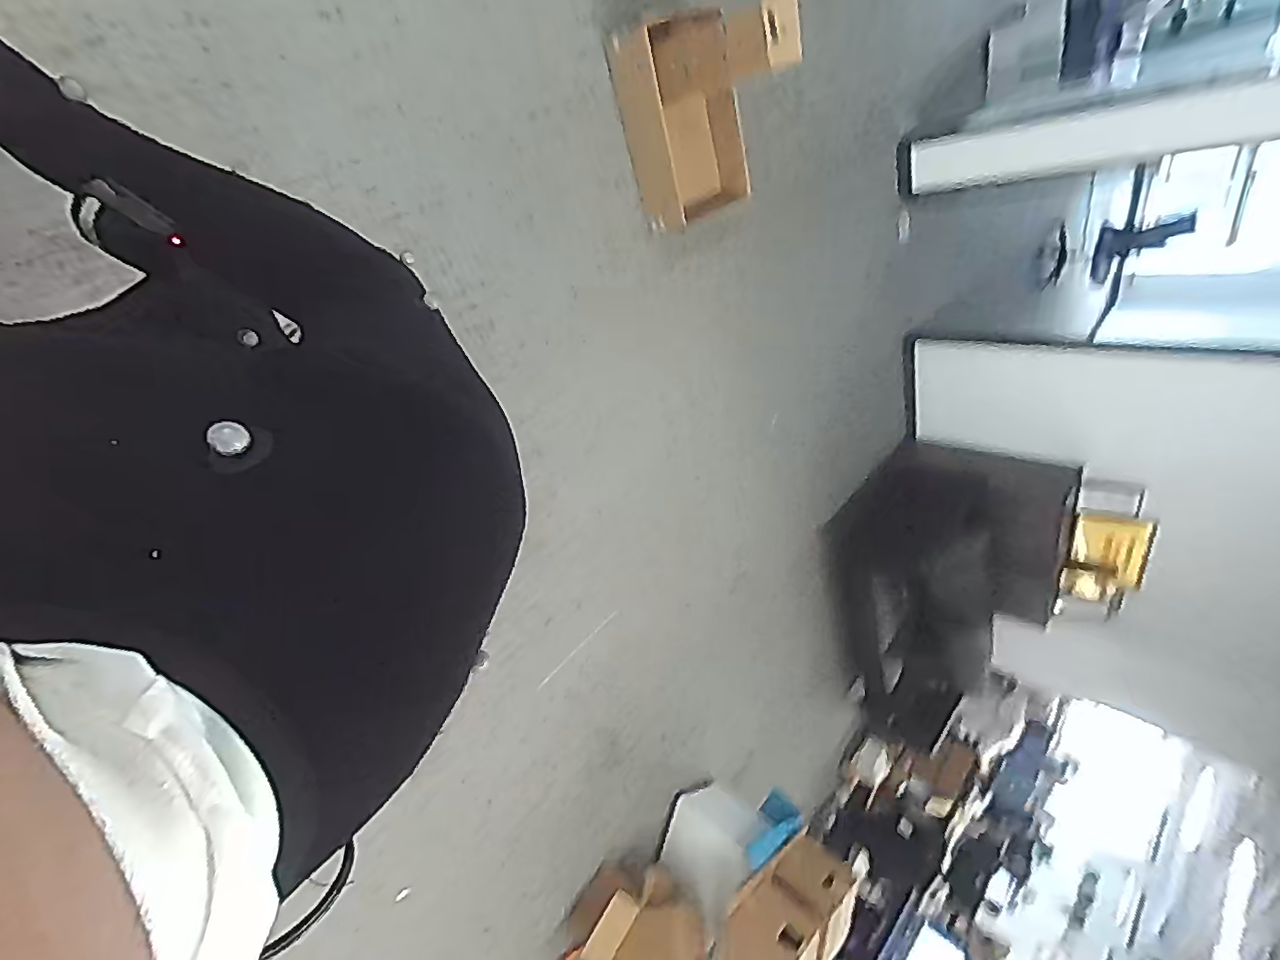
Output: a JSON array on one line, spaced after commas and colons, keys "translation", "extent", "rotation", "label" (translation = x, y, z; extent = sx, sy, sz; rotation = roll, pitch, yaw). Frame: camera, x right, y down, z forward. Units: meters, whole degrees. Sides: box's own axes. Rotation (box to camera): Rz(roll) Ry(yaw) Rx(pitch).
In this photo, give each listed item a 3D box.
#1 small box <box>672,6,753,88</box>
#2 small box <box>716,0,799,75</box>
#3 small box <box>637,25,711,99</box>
[{"translation": [0.228, -1.354, 1.688], "extent": [0.179, 0.176, 0.168], "rotation": [-37, 127, -29], "label": "small box"}, {"translation": [0.336, -1.311, 1.573], "extent": [0.179, 0.176, 0.168], "rotation": [-39, 129, -29], "label": "small box"}, {"translation": [0.119, -1.397, 1.802], "extent": [0.179, 0.176, 0.168], "rotation": [-37, 128, -30], "label": "small box"}]
